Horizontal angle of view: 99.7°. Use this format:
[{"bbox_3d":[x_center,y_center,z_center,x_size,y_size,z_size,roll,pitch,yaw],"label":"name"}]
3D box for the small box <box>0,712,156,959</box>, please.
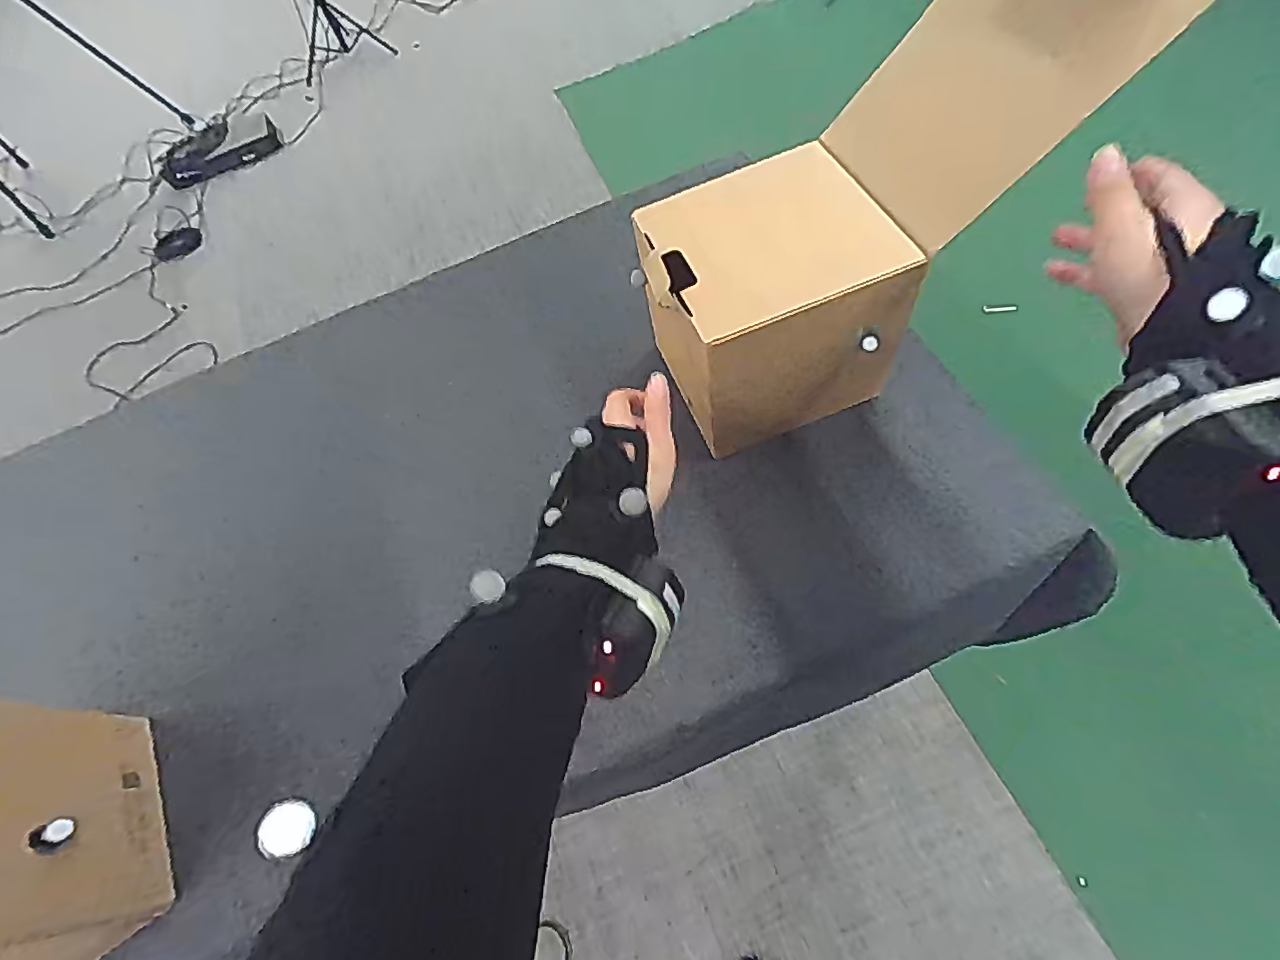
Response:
[{"bbox_3d":[-0.489,0.280,0.377,0.179,0.176,0.168,-35,62,-8],"label":"small box"}]
